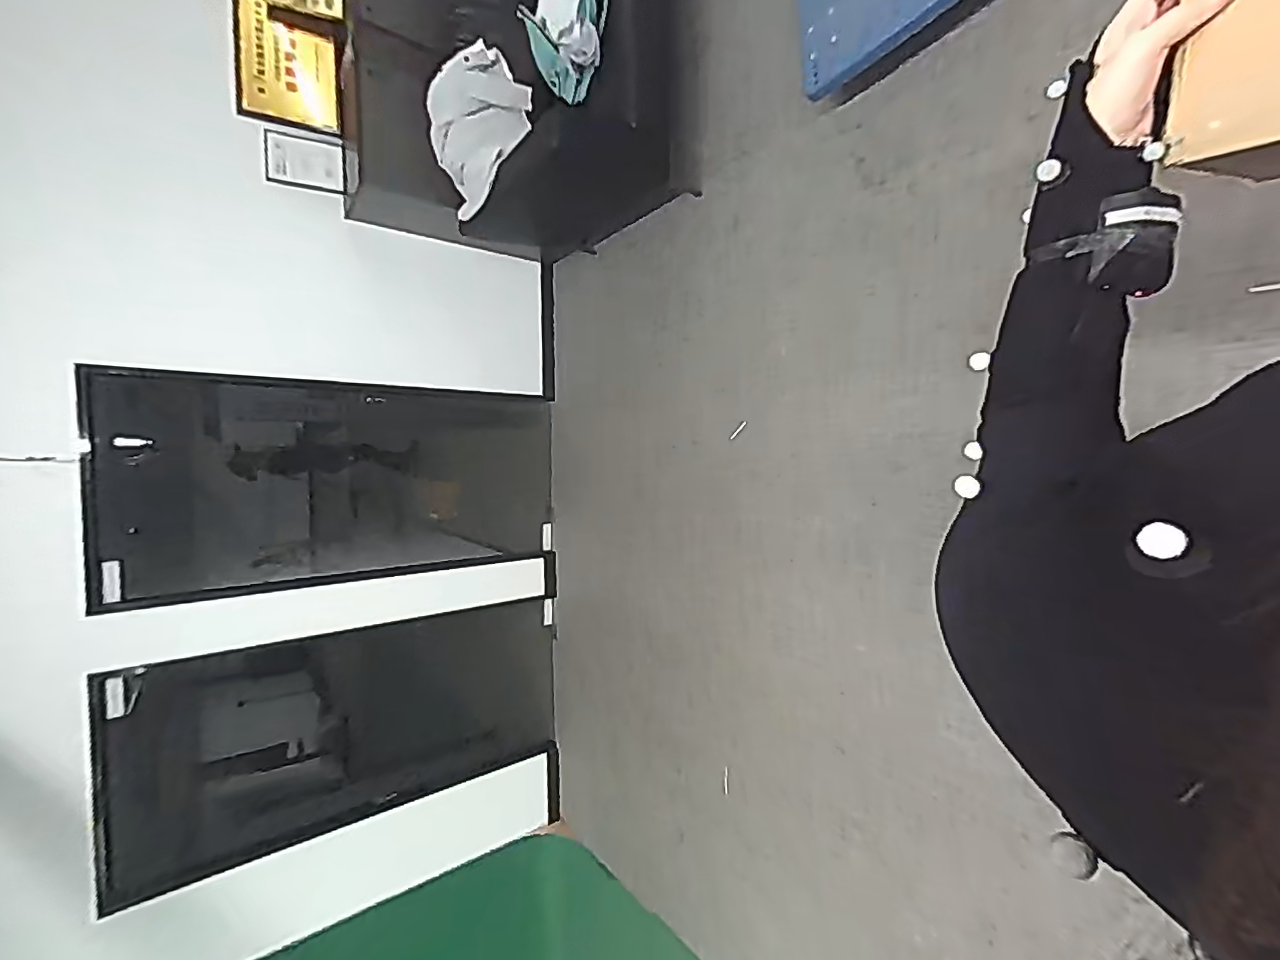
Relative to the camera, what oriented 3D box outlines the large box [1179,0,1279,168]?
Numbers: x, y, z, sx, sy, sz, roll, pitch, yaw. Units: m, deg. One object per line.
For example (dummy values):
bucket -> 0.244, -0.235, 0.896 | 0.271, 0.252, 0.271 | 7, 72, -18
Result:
large box -> 0.610, -0.396, 0.276 | 0.408, 0.320, 0.320 | 14, 116, 56
